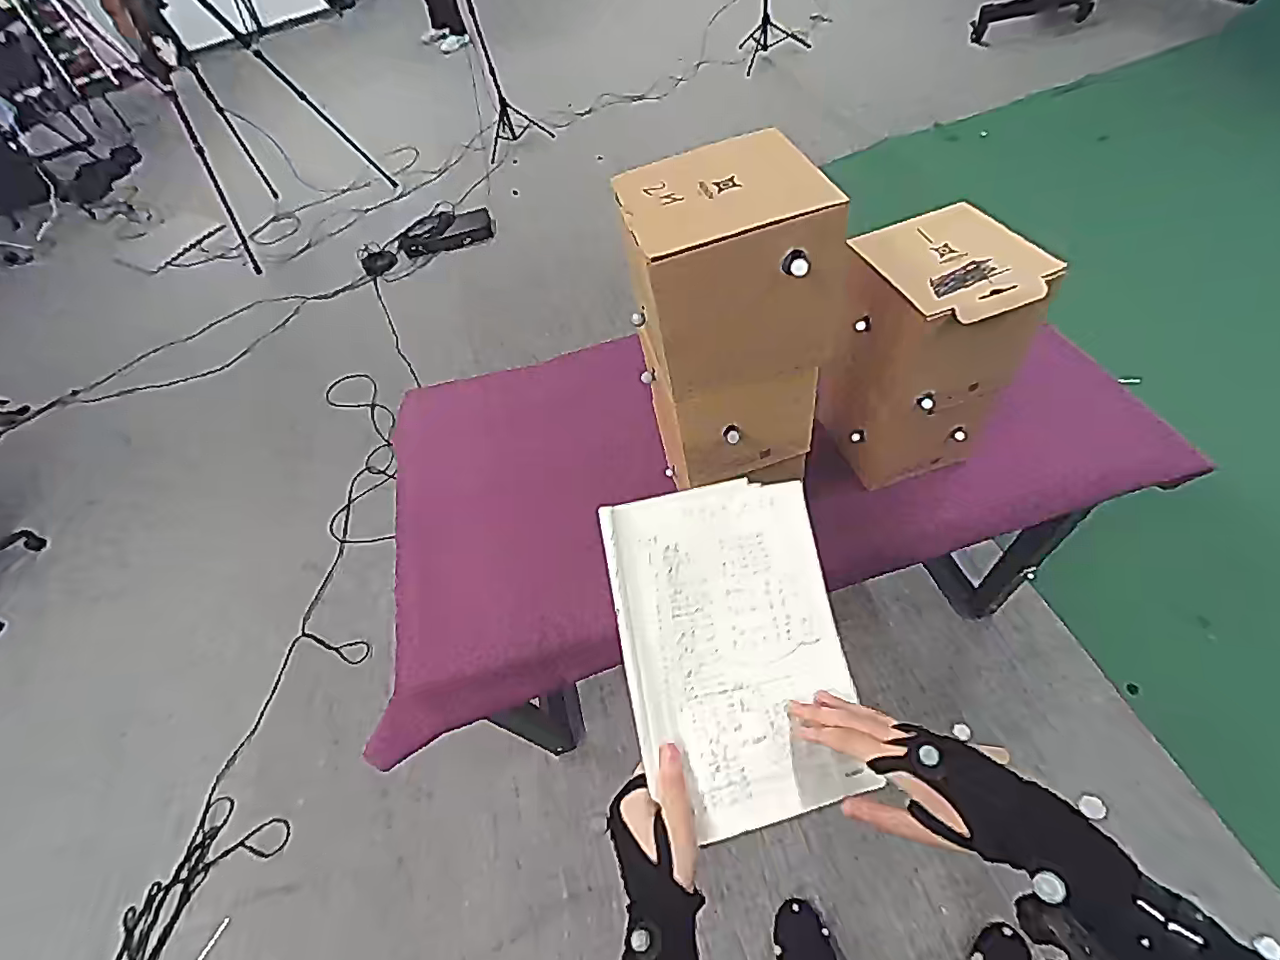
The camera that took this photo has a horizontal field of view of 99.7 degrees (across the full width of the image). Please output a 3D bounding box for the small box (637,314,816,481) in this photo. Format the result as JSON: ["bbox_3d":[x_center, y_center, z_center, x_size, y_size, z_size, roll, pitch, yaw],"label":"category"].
[{"bbox_3d":[0.109,-0.119,0.687,0.168,0.176,0.179,-18,52,0],"label":"small box"}]

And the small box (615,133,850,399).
[{"bbox_3d":[0.088,-0.212,0.553,0.179,0.176,0.168,-16,52,1],"label":"small box"}]

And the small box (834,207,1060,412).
[{"bbox_3d":[0.370,-0.208,0.693,0.168,0.176,0.179,-18,52,-2],"label":"small box"}]

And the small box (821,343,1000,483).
[{"bbox_3d":[0.393,-0.115,0.825,0.168,0.176,0.179,-17,52,-1],"label":"small box"}]
